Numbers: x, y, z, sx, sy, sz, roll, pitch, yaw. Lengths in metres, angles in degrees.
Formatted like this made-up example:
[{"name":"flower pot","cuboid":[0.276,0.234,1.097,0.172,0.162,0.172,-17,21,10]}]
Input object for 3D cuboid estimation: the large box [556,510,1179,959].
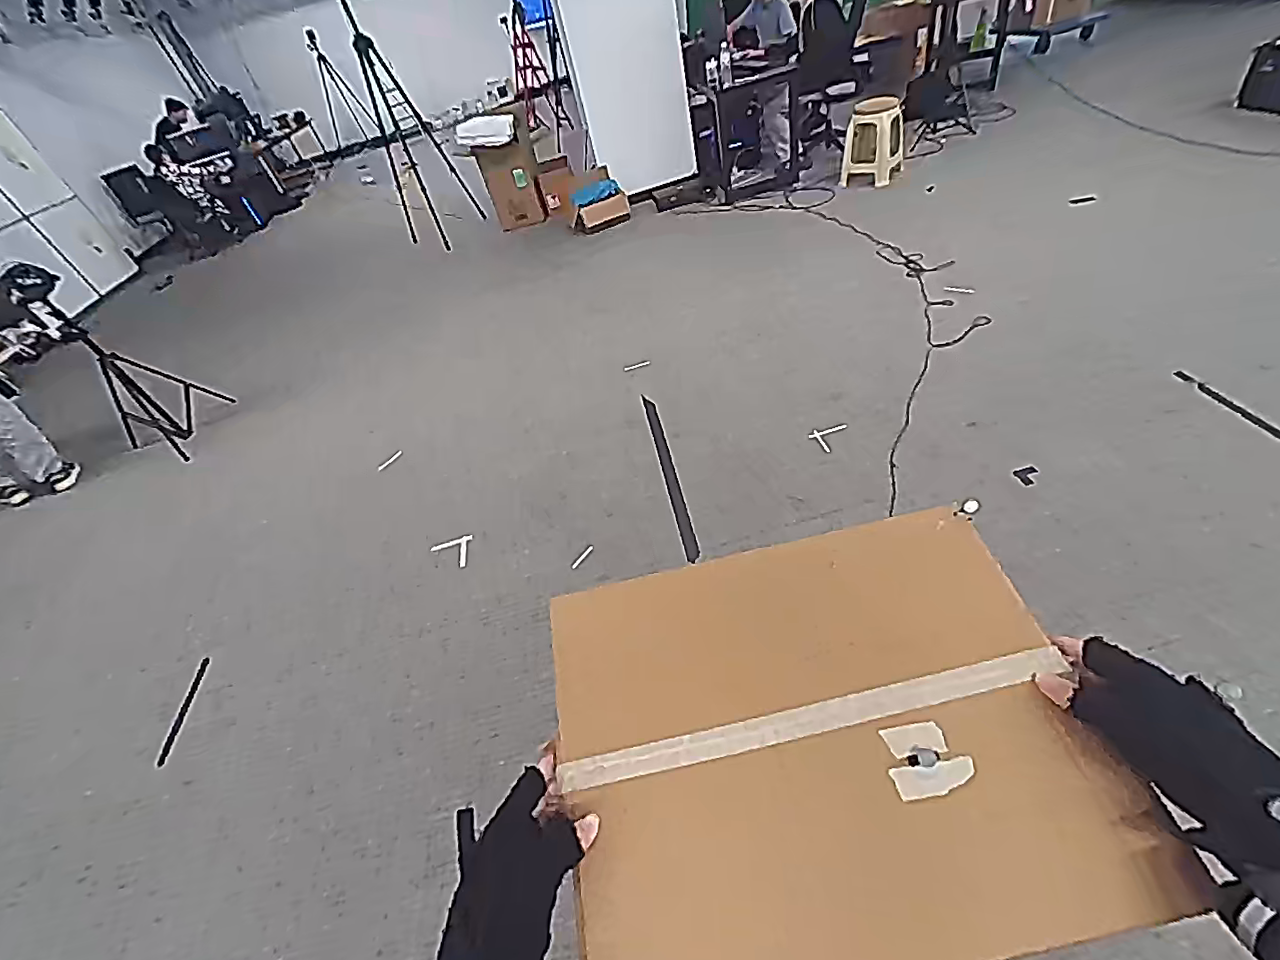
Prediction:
[{"name":"large box","cuboid":[0.158,0.283,0.562,0.408,0.320,0.320,-14,53,0]}]
